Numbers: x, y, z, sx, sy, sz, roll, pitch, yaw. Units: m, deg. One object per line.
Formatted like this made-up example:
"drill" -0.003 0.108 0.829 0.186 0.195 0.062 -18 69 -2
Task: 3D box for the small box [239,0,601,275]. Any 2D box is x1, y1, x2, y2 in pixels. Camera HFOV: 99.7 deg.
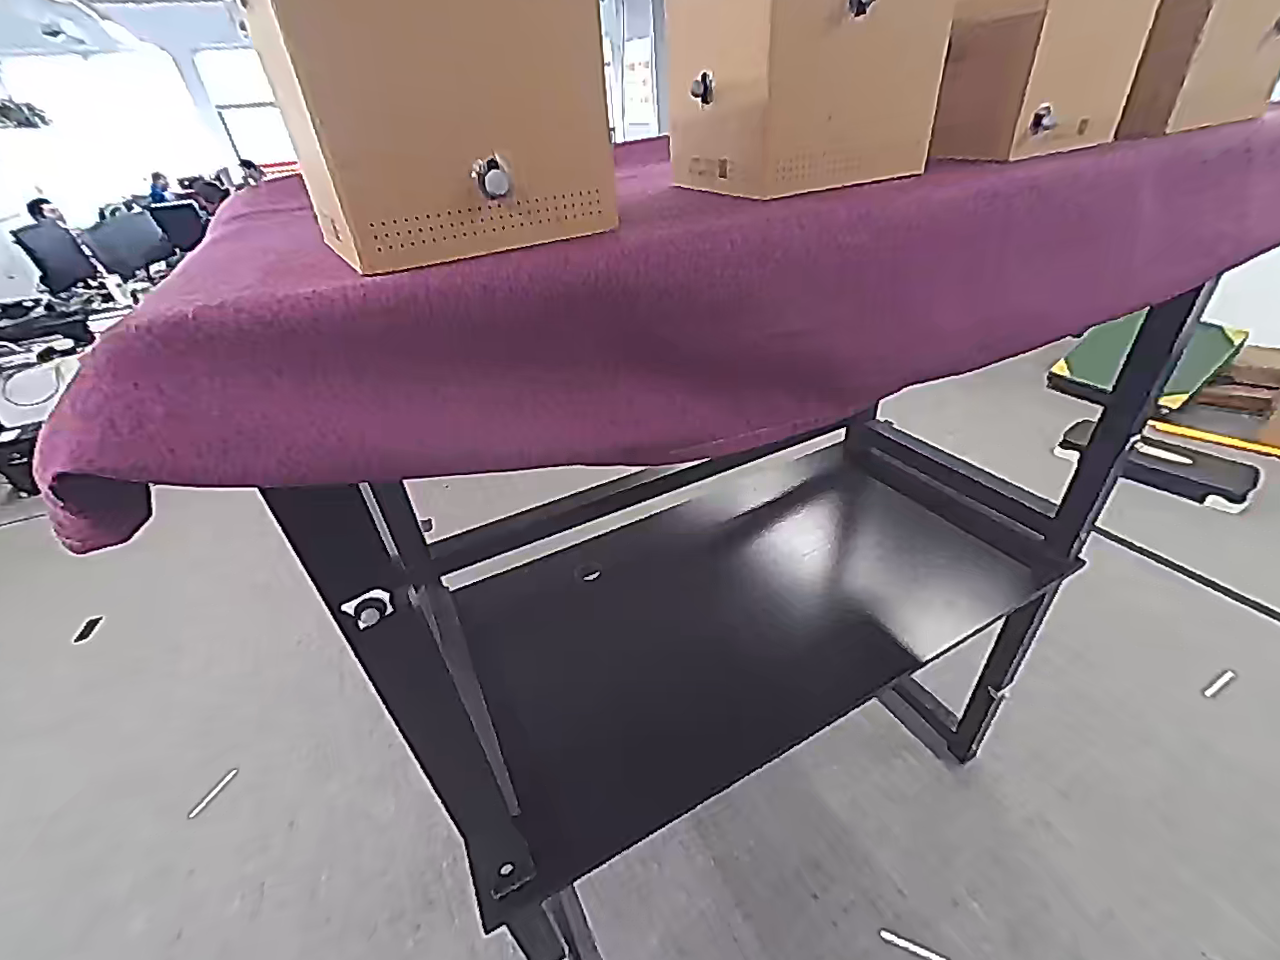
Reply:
"small box" -0.136 -0.246 0.354 0.179 0.176 0.168 -23 38 -25

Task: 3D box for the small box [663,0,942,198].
"small box" 0.135 -0.353 0.471 0.179 0.176 0.168 -18 36 -17

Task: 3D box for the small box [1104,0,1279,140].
"small box" 0.601 -0.499 0.618 0.179 0.176 0.168 -17 35 -16

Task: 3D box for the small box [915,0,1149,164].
"small box" 0.369 -0.429 0.549 0.168 0.176 0.179 -20 36 -20
